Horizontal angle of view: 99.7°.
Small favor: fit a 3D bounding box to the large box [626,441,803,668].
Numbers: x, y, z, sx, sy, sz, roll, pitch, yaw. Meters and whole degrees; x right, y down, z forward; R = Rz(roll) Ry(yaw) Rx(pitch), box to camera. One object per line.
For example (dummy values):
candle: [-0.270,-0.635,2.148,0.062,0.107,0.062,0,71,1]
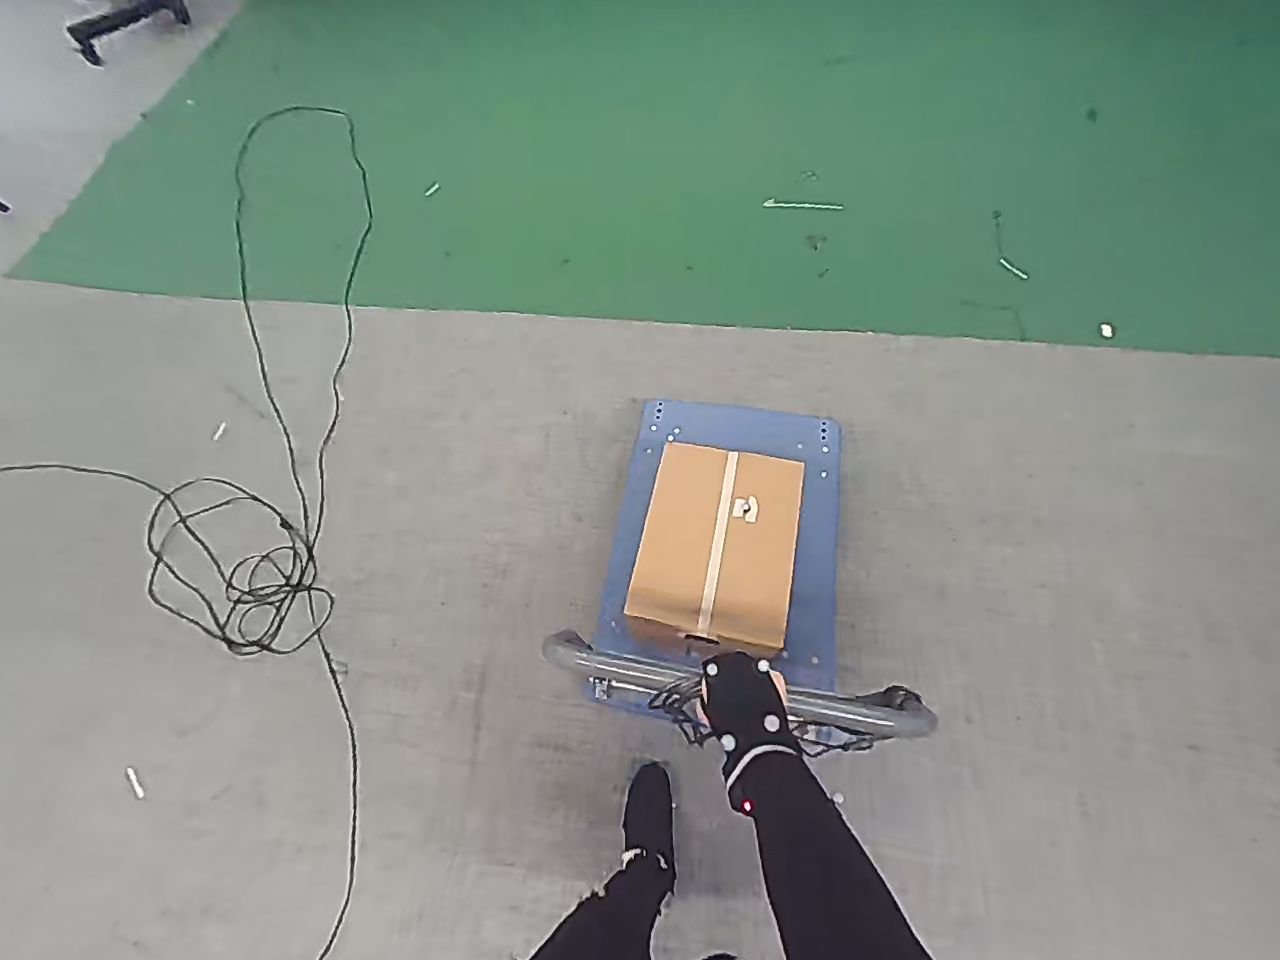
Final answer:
large box: [0.173,0.178,1.242,0.320,0.320,0.408,11,64,9]
